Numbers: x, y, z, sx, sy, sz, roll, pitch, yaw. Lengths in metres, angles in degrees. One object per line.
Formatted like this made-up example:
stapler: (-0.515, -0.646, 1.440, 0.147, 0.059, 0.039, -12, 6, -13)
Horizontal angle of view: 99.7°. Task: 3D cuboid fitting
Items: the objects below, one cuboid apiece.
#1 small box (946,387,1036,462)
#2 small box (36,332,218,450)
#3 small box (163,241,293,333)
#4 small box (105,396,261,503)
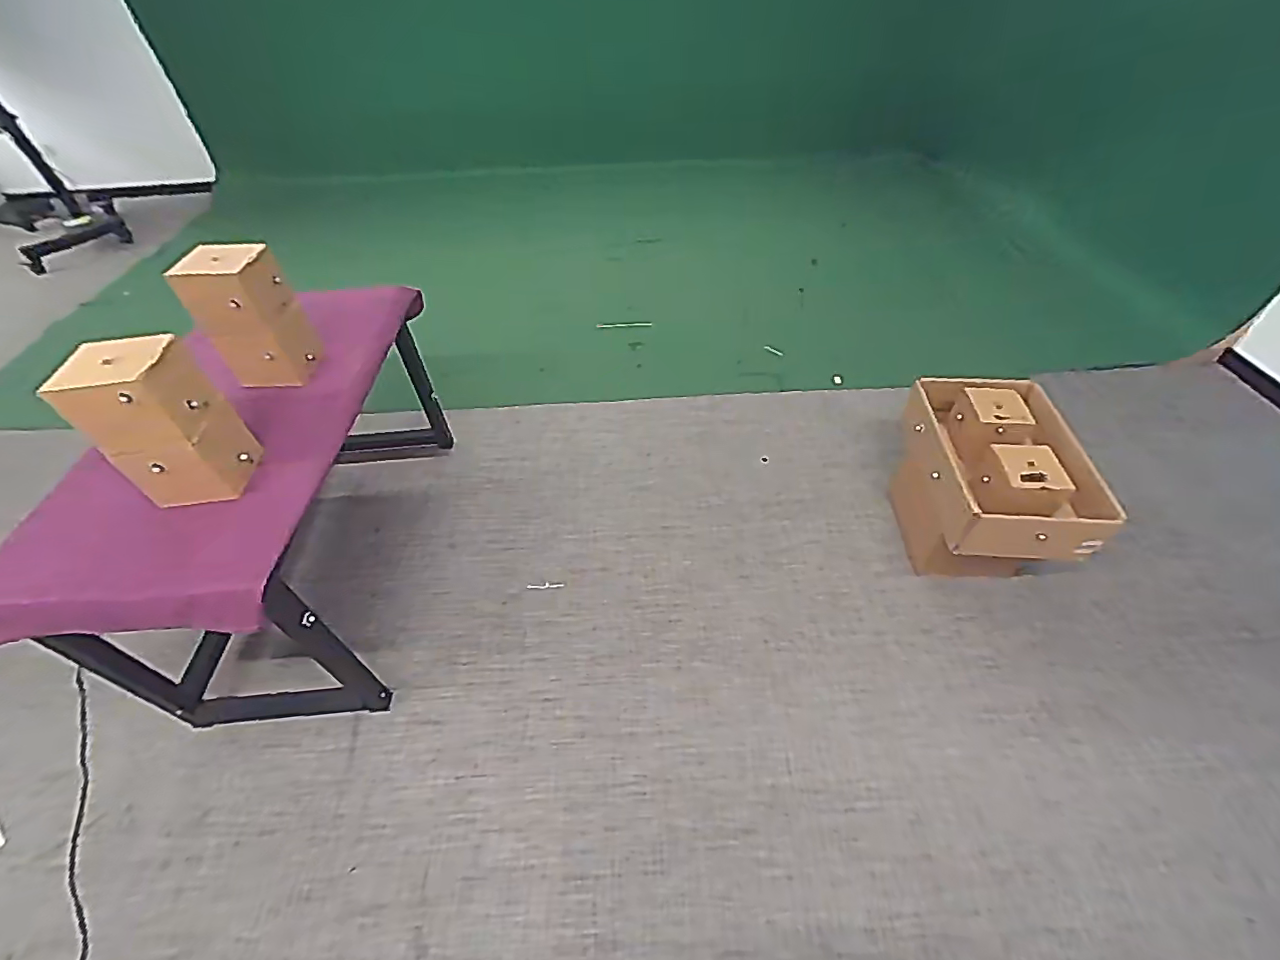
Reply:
small box: (1.133, -0.180, 1.763, 0.168, 0.176, 0.179, 3, 47, 4)
small box: (-1.016, -0.176, 1.093, 0.179, 0.176, 0.168, -8, 47, -6)
small box: (-1.035, -0.490, 1.381, 0.179, 0.176, 0.168, -1, 47, 1)
small box: (-1.007, -0.064, 1.211, 0.179, 0.176, 0.168, -7, 48, -4)
